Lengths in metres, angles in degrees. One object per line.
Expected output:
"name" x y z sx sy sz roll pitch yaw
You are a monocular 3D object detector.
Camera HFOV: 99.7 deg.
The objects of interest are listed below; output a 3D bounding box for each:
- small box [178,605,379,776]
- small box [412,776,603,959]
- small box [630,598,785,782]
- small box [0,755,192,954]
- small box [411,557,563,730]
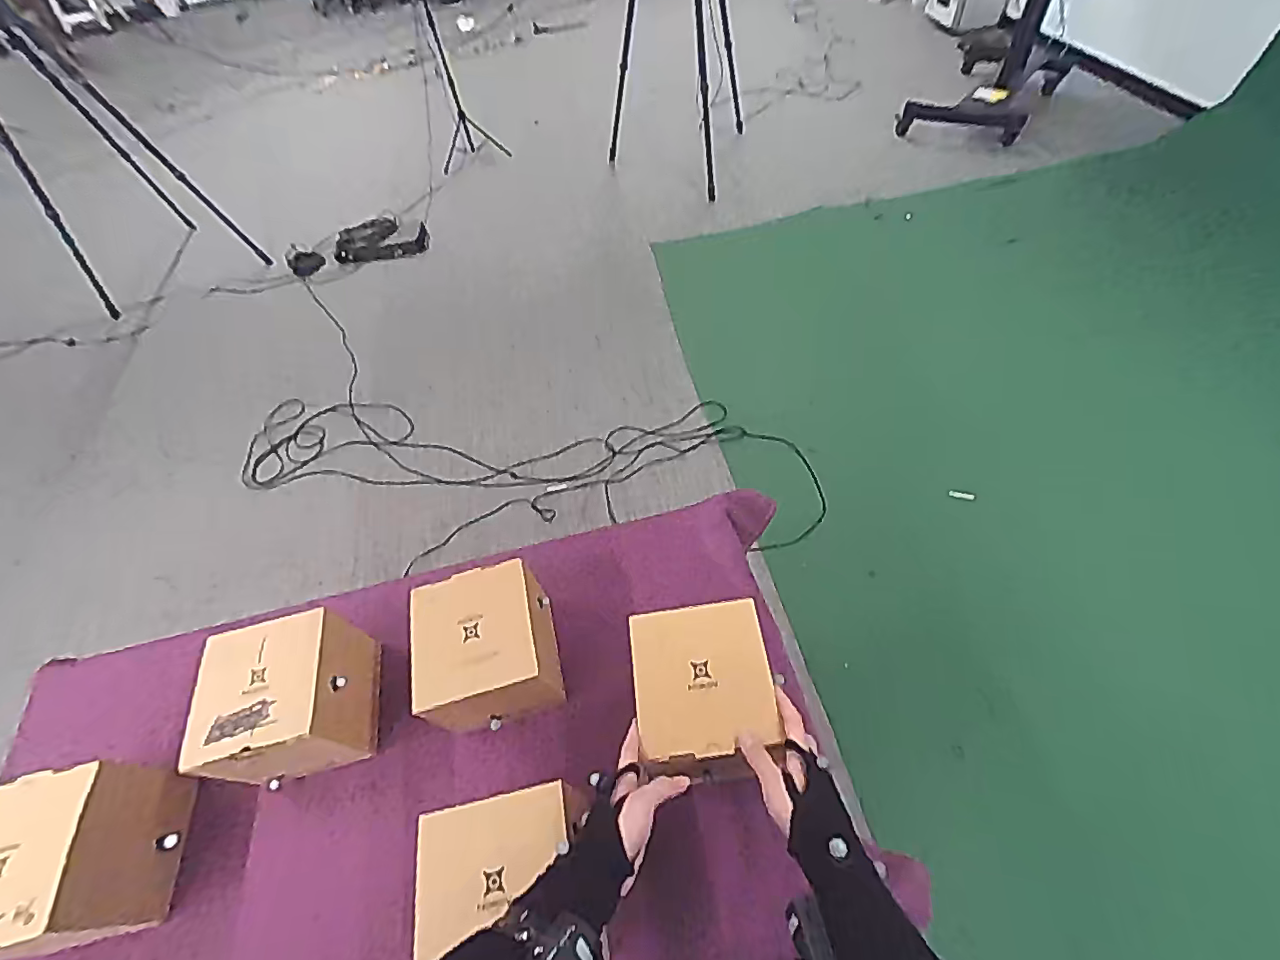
"small box" -0.497 0.309 0.777 0.168 0.176 0.179 -14 53 -4
"small box" -0.144 0.468 0.623 0.168 0.176 0.179 -13 53 -2
"small box" 0.083 0.278 0.710 0.168 0.176 0.179 -9 52 3
"small box" -0.724 0.474 0.684 0.168 0.176 0.179 -14 54 -2
"small box" -0.220 0.243 0.795 0.168 0.176 0.179 -16 56 -3
